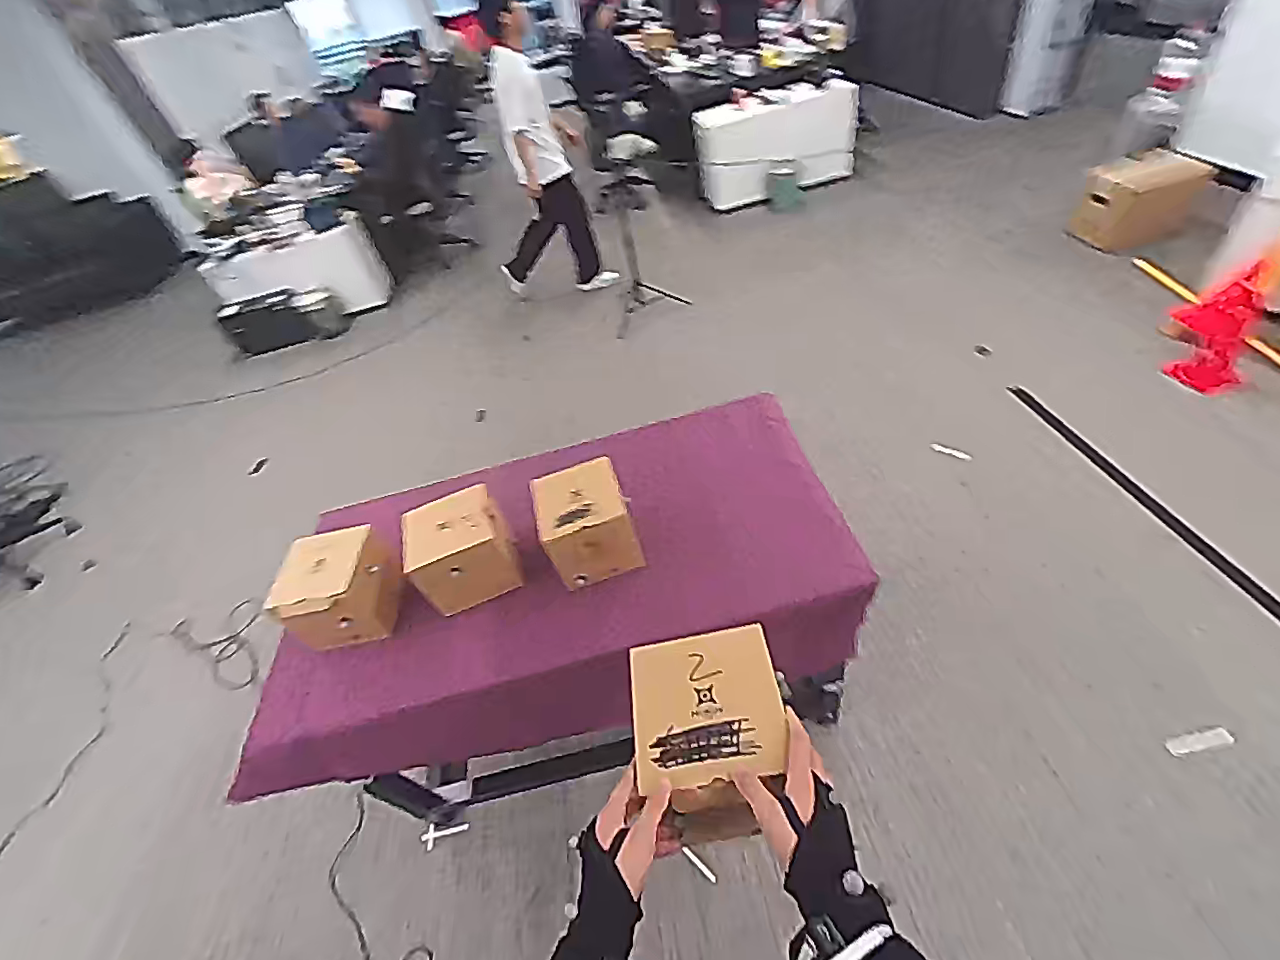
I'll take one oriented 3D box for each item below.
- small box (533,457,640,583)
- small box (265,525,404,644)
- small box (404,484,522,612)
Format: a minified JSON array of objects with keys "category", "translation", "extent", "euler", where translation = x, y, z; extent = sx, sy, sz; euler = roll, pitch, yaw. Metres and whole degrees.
[{"category":"small box","translation":[-0.107,0.089,1.108],"extent":[0.168,0.176,0.179],"euler":[-18,44,-3]},{"category":"small box","translation":[-0.615,0.223,1.119],"extent":[0.168,0.176,0.179],"euler":[-11,44,4]},{"category":"small box","translation":[-0.366,0.145,1.124],"extent":[0.179,0.176,0.168],"euler":[-21,45,-6]}]
